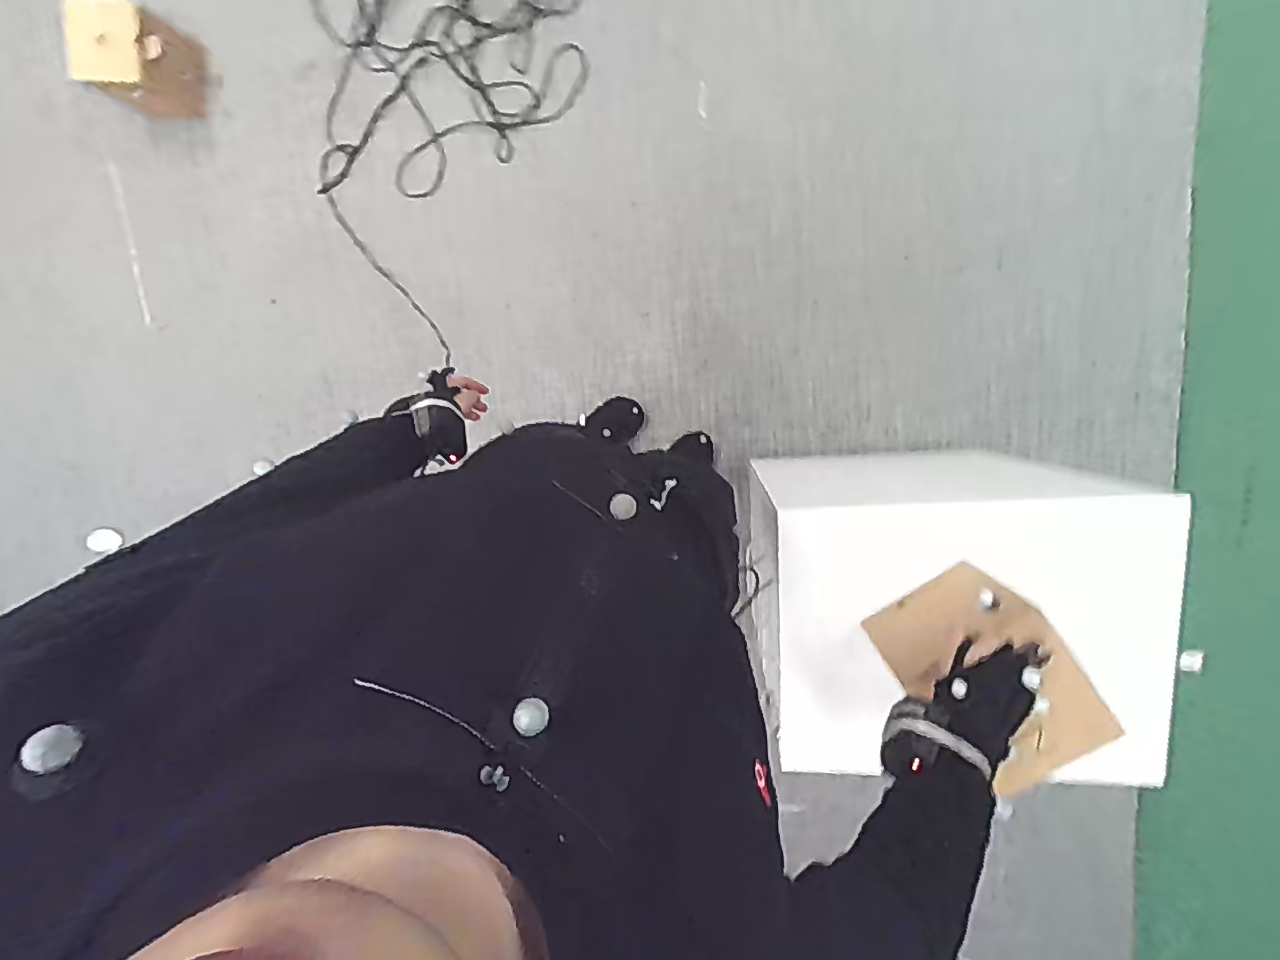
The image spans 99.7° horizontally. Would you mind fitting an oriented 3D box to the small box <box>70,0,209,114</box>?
[{"bbox_3d":[-1.159,-0.986,1.261,0.179,0.176,0.168,7,100,5],"label":"small box"}]
